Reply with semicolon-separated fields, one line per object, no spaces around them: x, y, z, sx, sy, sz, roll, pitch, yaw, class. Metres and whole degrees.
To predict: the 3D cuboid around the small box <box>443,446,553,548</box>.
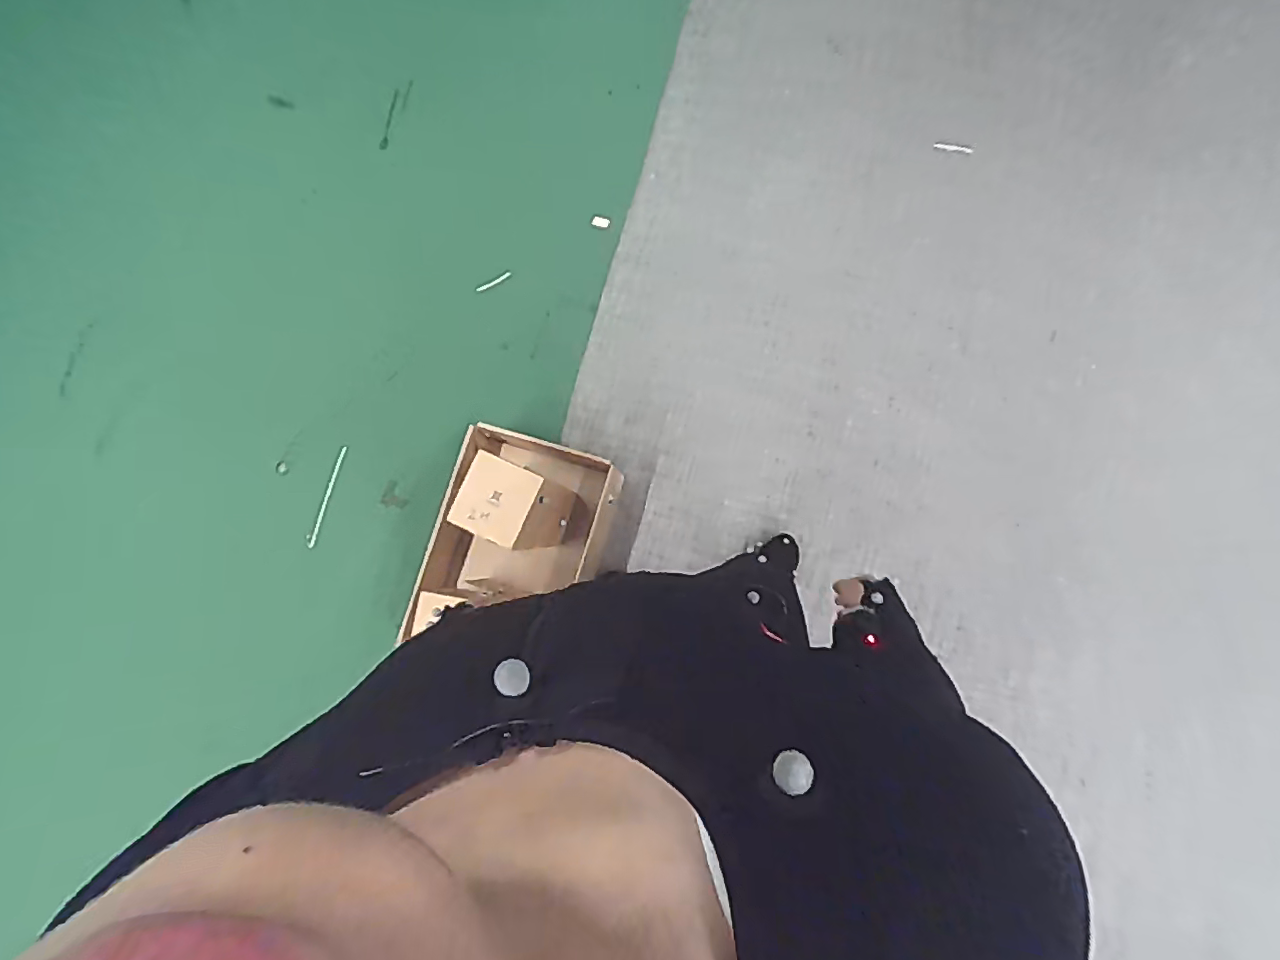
-0.314;0.043;1.244;0.168;0.176;0.179;23;86;7;small box

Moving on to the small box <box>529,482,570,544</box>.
-0.305;0.062;1.408;0.179;0.176;0.168;23;86;6;small box

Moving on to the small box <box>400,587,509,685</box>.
-0.405;0.341;1.213;0.168;0.176;0.179;7;82;5;small box
